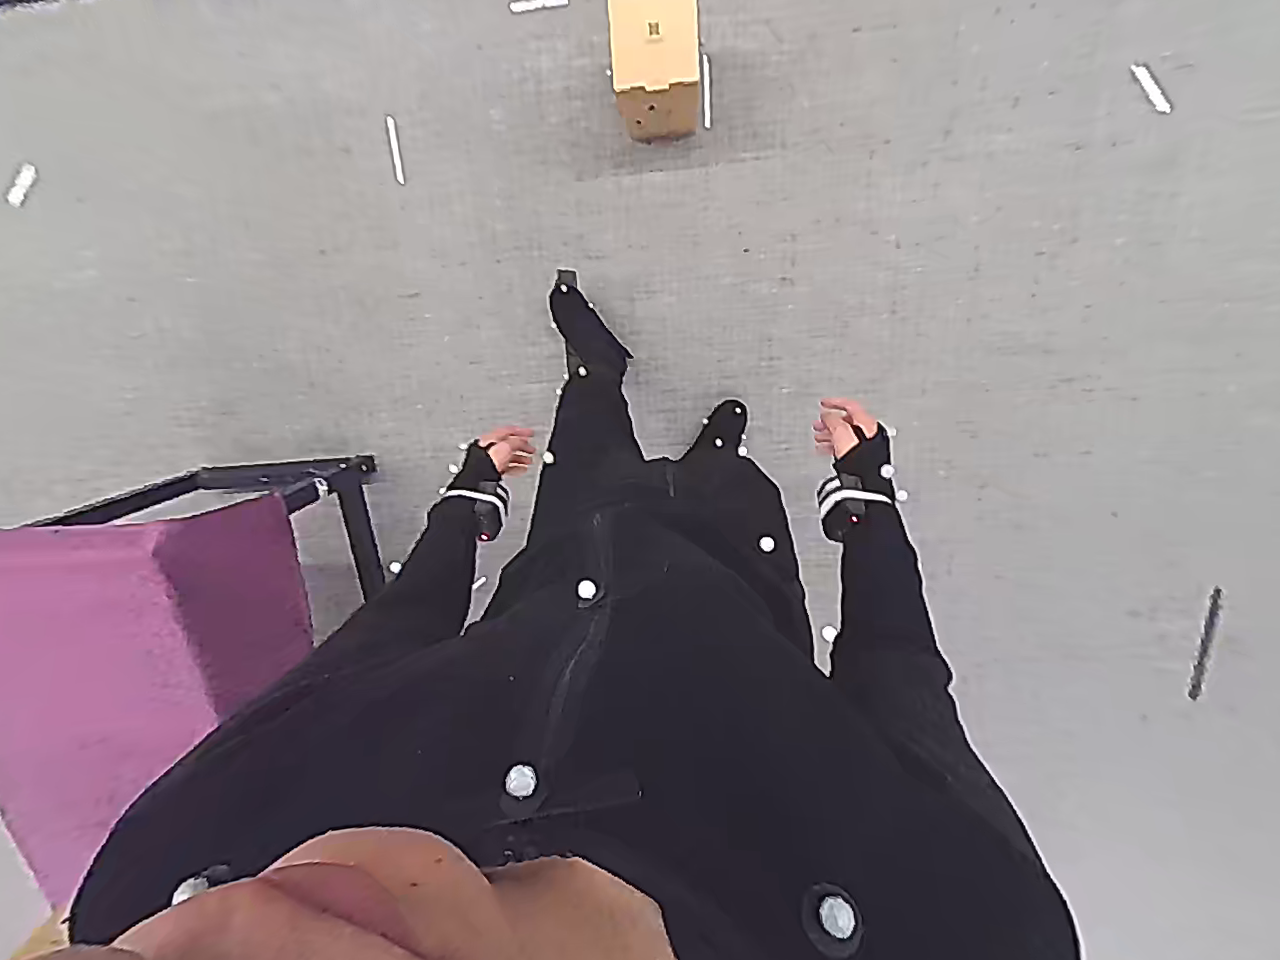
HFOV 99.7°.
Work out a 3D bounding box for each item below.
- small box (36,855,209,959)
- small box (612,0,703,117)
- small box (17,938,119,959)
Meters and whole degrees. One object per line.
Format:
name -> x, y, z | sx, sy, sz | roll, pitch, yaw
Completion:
small box -> -1.074, 0.926, 1.138 | 0.179, 0.176, 0.168 | -4, 107, 6
small box -> 0.036, -0.860, 1.080 | 0.168, 0.176, 0.179 | -3, 107, 5
small box -> -1.088, 0.977, 0.982 | 0.179, 0.176, 0.168 | -7, 106, 8
